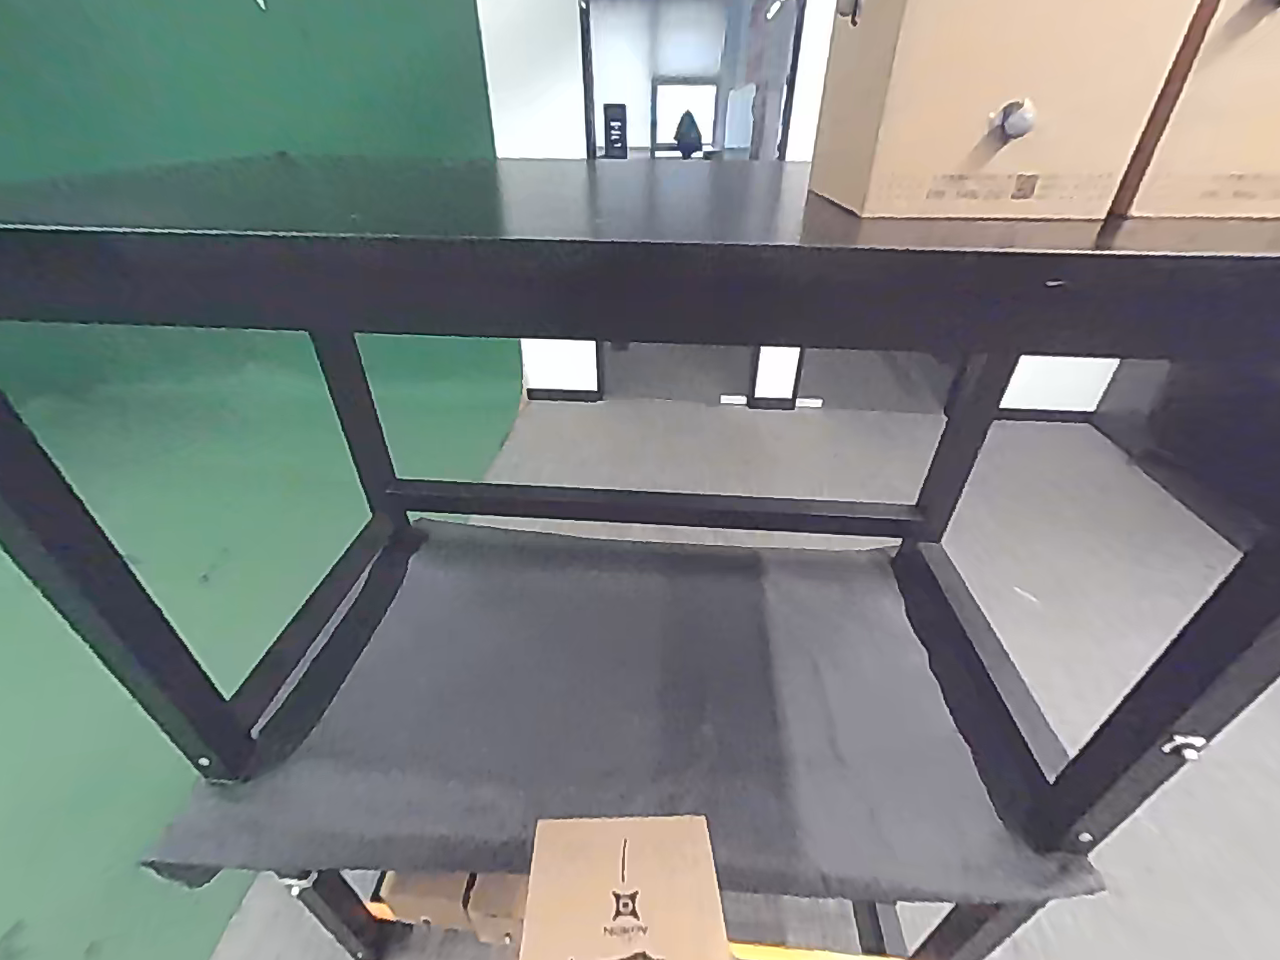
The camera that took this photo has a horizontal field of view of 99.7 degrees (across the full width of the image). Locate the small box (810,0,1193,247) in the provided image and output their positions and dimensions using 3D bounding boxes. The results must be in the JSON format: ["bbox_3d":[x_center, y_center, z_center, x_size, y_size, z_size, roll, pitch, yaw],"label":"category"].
[{"bbox_3d":[0.237,-0.282,0.405,0.168,0.176,0.179,1,34,3],"label":"small box"}]
